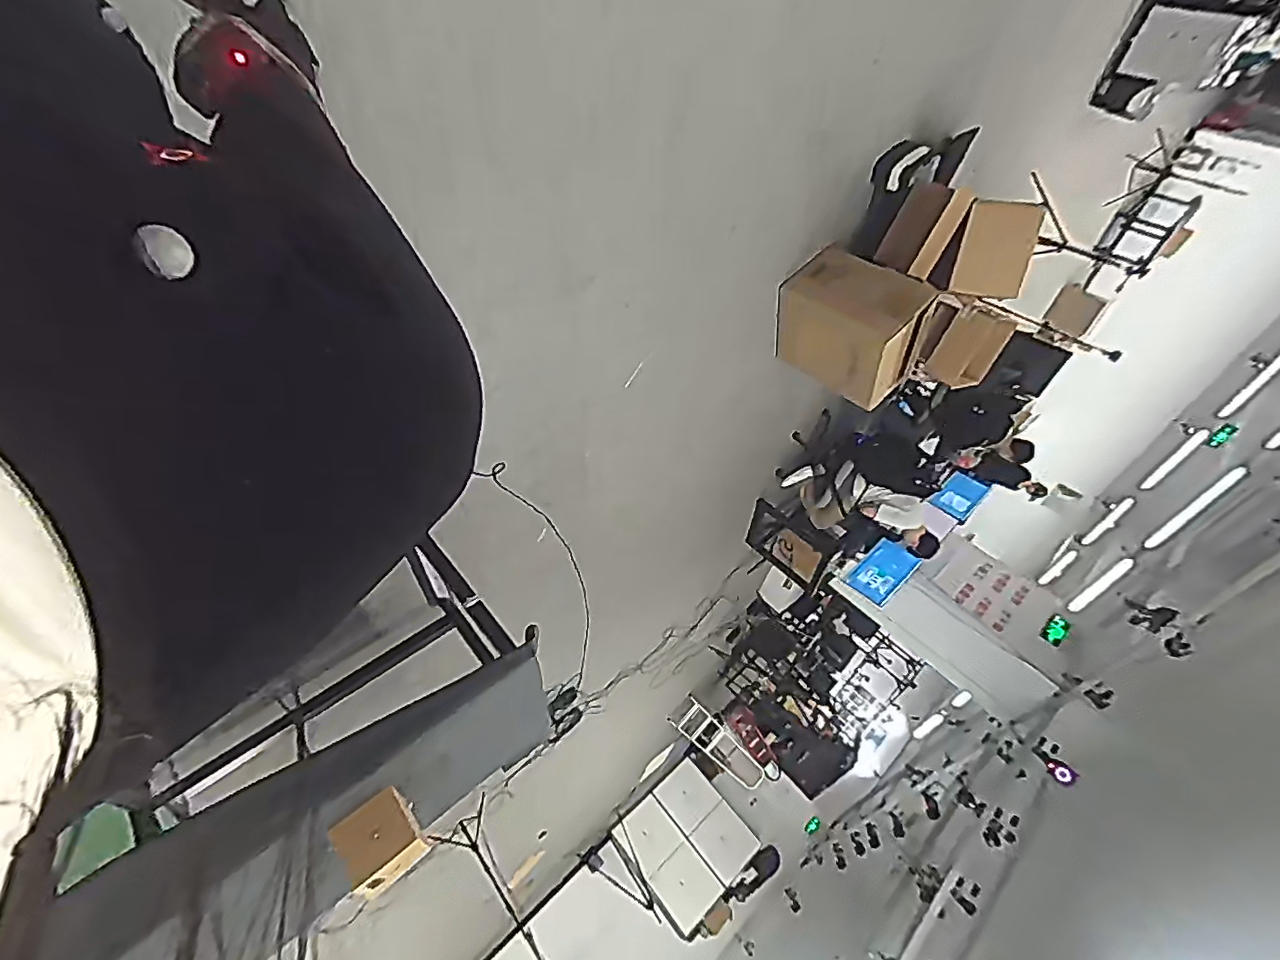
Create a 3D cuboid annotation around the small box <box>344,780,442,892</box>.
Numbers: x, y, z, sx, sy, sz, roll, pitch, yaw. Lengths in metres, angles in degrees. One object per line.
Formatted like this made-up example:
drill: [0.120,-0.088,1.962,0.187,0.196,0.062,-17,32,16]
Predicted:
small box: [-0.670,0.958,1.460,0.179,0.176,0.168,-33,147,-26]
